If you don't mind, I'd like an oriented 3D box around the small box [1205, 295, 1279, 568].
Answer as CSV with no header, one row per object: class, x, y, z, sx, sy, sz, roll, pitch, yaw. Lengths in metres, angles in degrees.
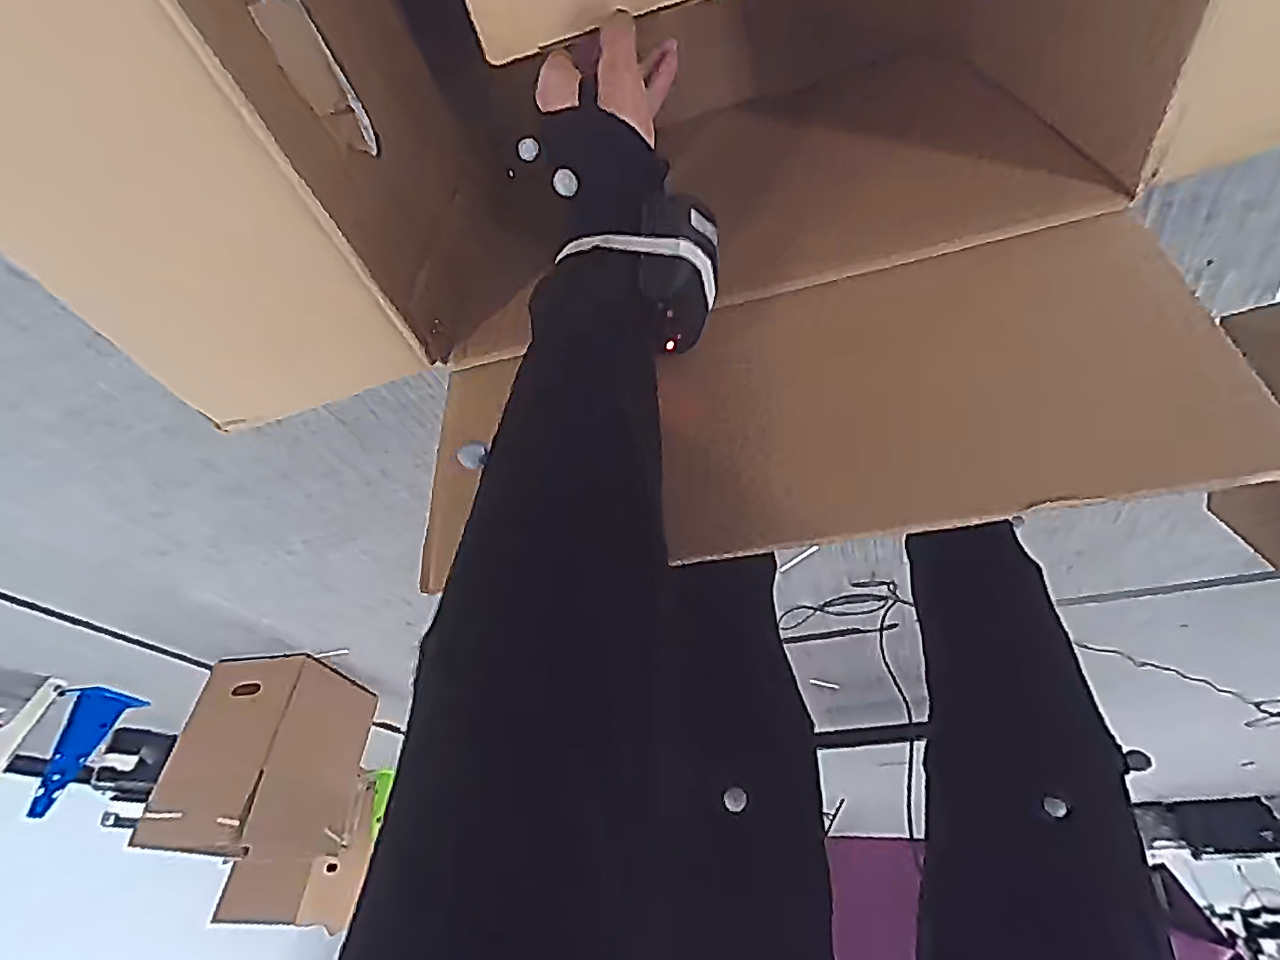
small box,0.498,-0.023,0.325,0.168,0.176,0.179,-15,116,21
